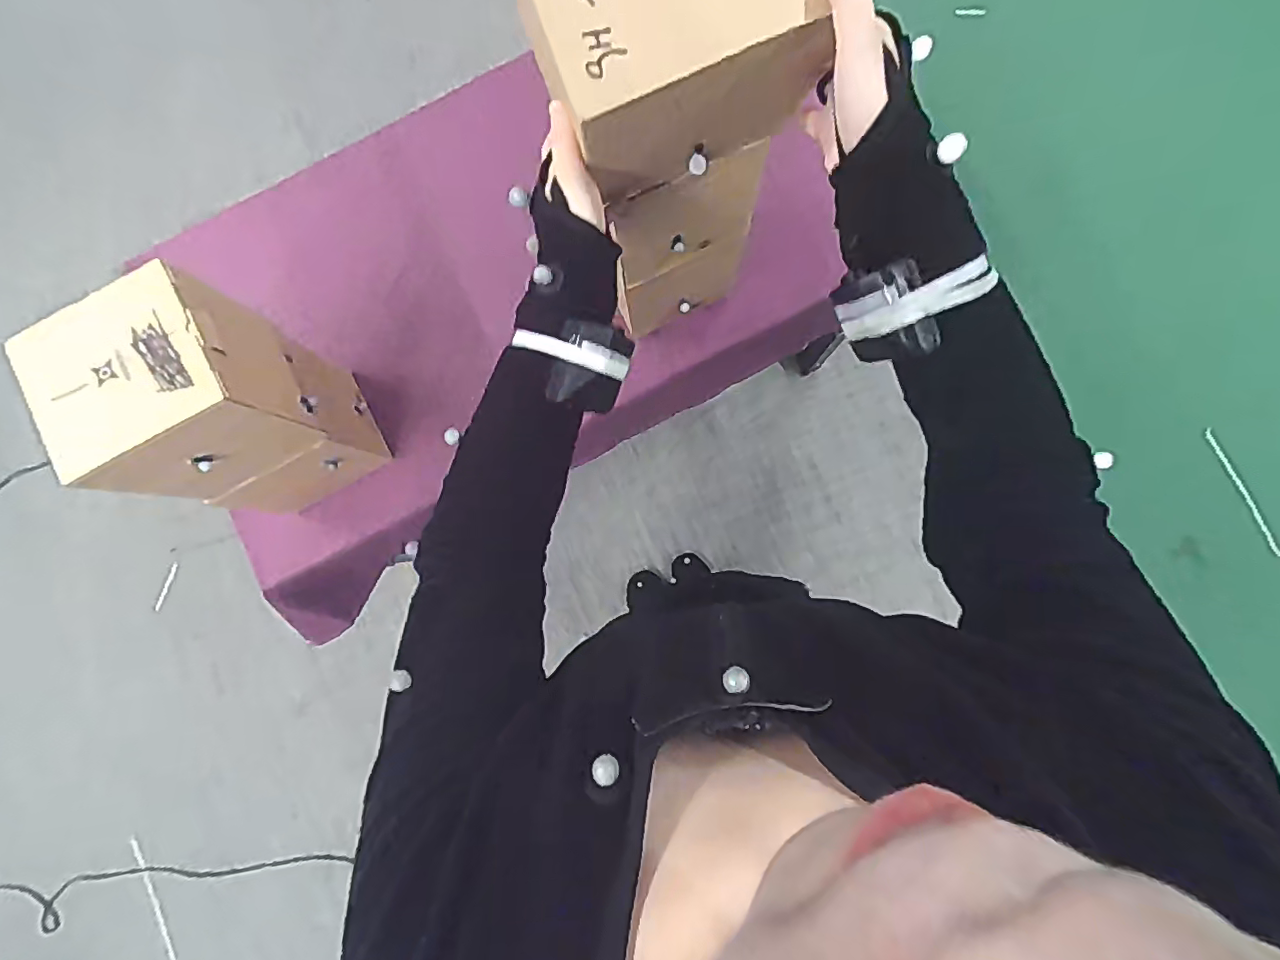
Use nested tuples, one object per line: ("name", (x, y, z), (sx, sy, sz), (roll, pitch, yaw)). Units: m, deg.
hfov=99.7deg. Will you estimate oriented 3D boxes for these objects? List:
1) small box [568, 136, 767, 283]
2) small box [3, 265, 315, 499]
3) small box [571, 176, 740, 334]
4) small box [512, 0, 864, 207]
("small box", (0.015, -0.356, 0.596), (0.168, 0.176, 0.179), (-25, 84, 0))
("small box", (-0.498, -0.092, 0.594), (0.179, 0.176, 0.168), (-29, 83, -1))
("small box", (0.021, -0.337, 0.758), (0.168, 0.176, 0.179), (-25, 84, 1))
("small box", (0.012, -0.314, 0.362), (0.179, 0.176, 0.168), (-21, 101, 2))
